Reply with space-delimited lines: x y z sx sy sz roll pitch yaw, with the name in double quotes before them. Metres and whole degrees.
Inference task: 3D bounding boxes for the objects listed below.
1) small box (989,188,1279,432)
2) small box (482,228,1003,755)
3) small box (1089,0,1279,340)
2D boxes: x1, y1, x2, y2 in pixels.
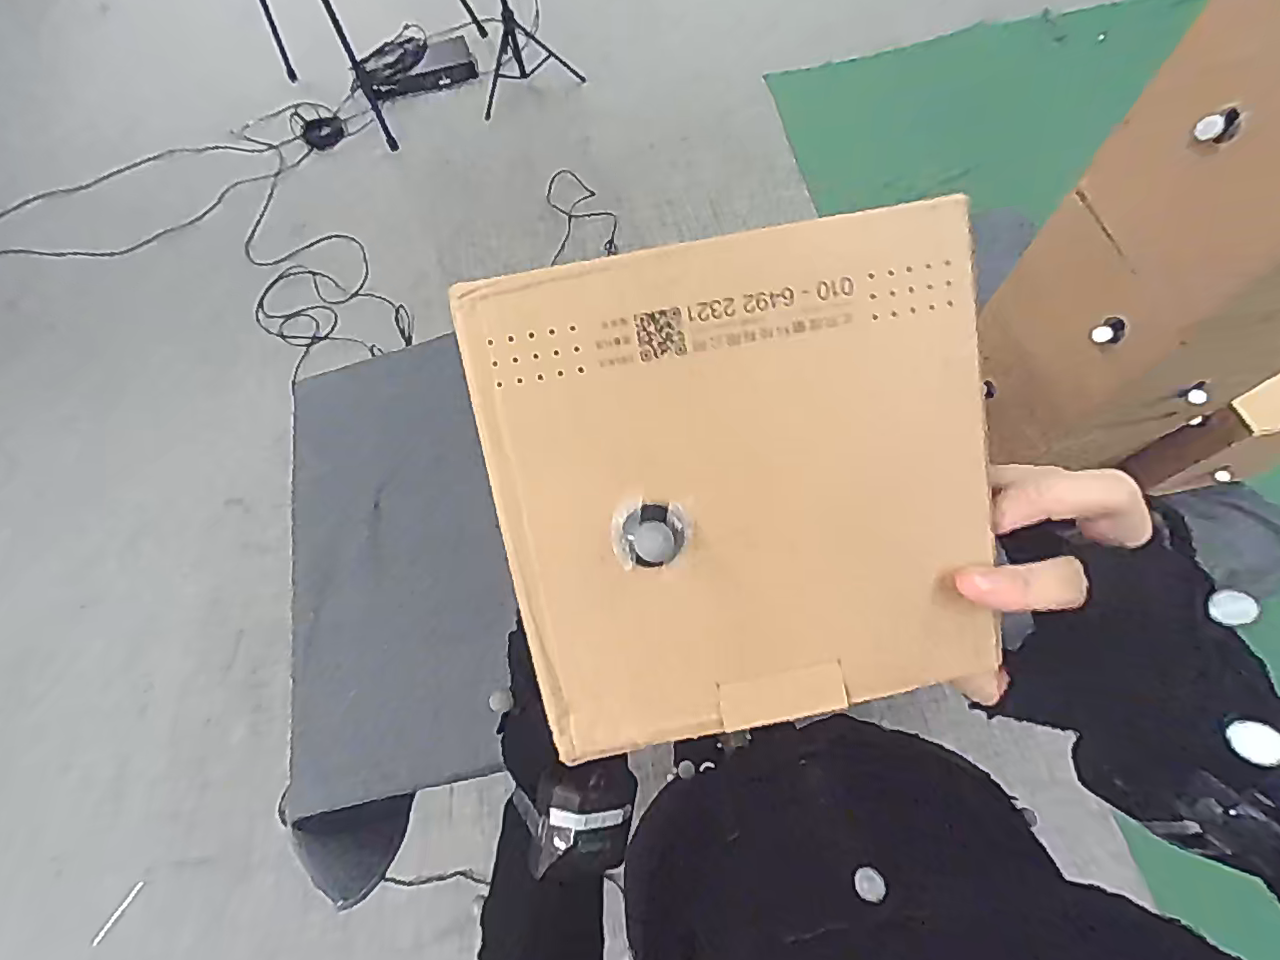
"small box" 0.480 -0.159 0.512 0.168 0.176 0.179 -11 66 1
"small box" 0.033 -0.010 0.264 0.168 0.179 0.176 -10 100 -3
"small box" 0.463 -0.223 0.361 0.168 0.176 0.179 -9 65 3
